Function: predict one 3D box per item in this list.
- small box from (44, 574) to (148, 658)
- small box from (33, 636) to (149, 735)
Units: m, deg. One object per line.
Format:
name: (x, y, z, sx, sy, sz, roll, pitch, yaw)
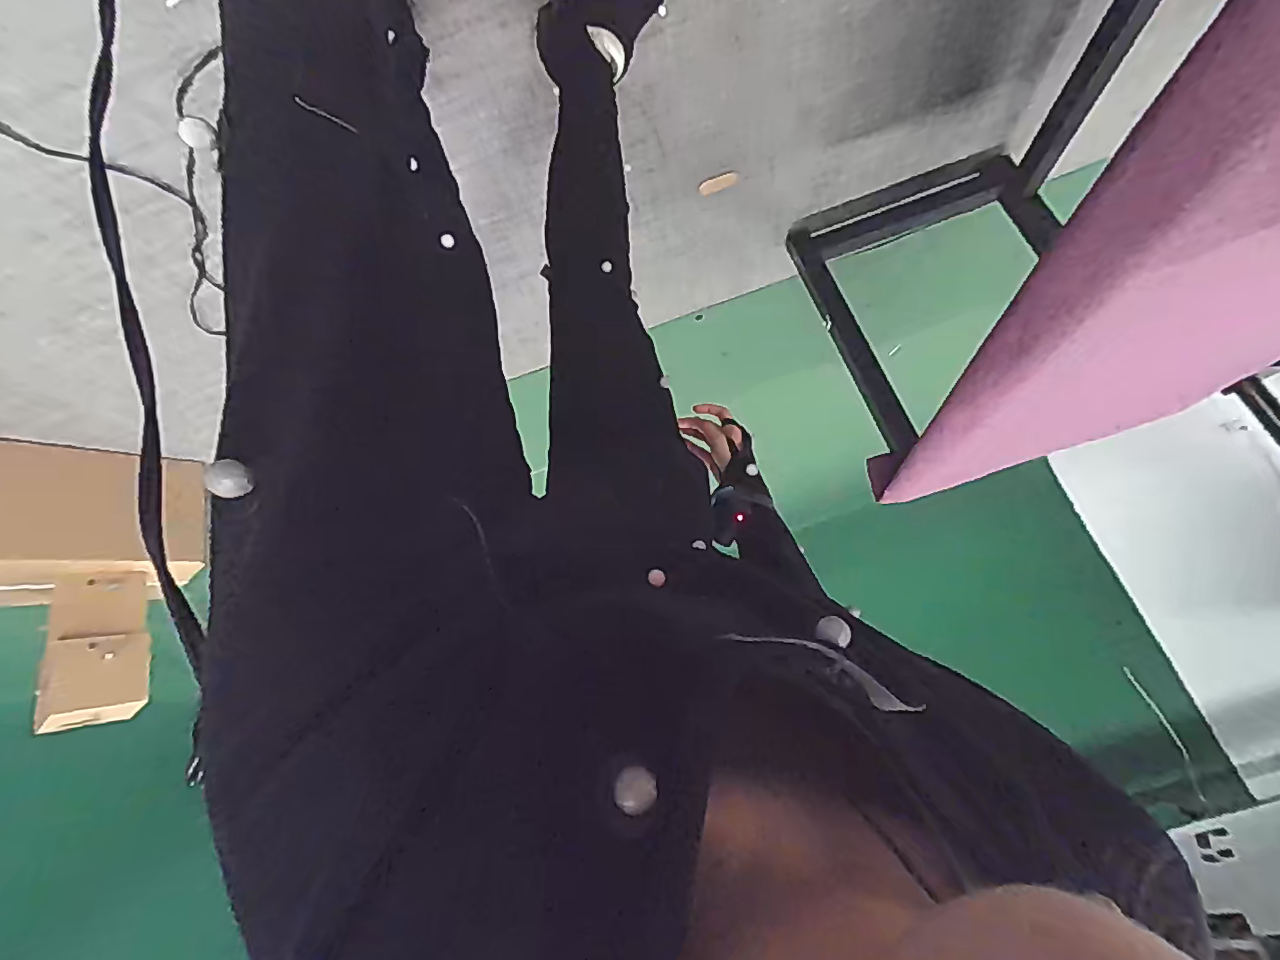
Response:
small box: (-1.351, 0.342, 1.347, 0.179, 0.176, 0.168, -34, 154, 34)
small box: (-1.295, 0.481, 1.281, 0.179, 0.176, 0.168, -32, 155, 30)
